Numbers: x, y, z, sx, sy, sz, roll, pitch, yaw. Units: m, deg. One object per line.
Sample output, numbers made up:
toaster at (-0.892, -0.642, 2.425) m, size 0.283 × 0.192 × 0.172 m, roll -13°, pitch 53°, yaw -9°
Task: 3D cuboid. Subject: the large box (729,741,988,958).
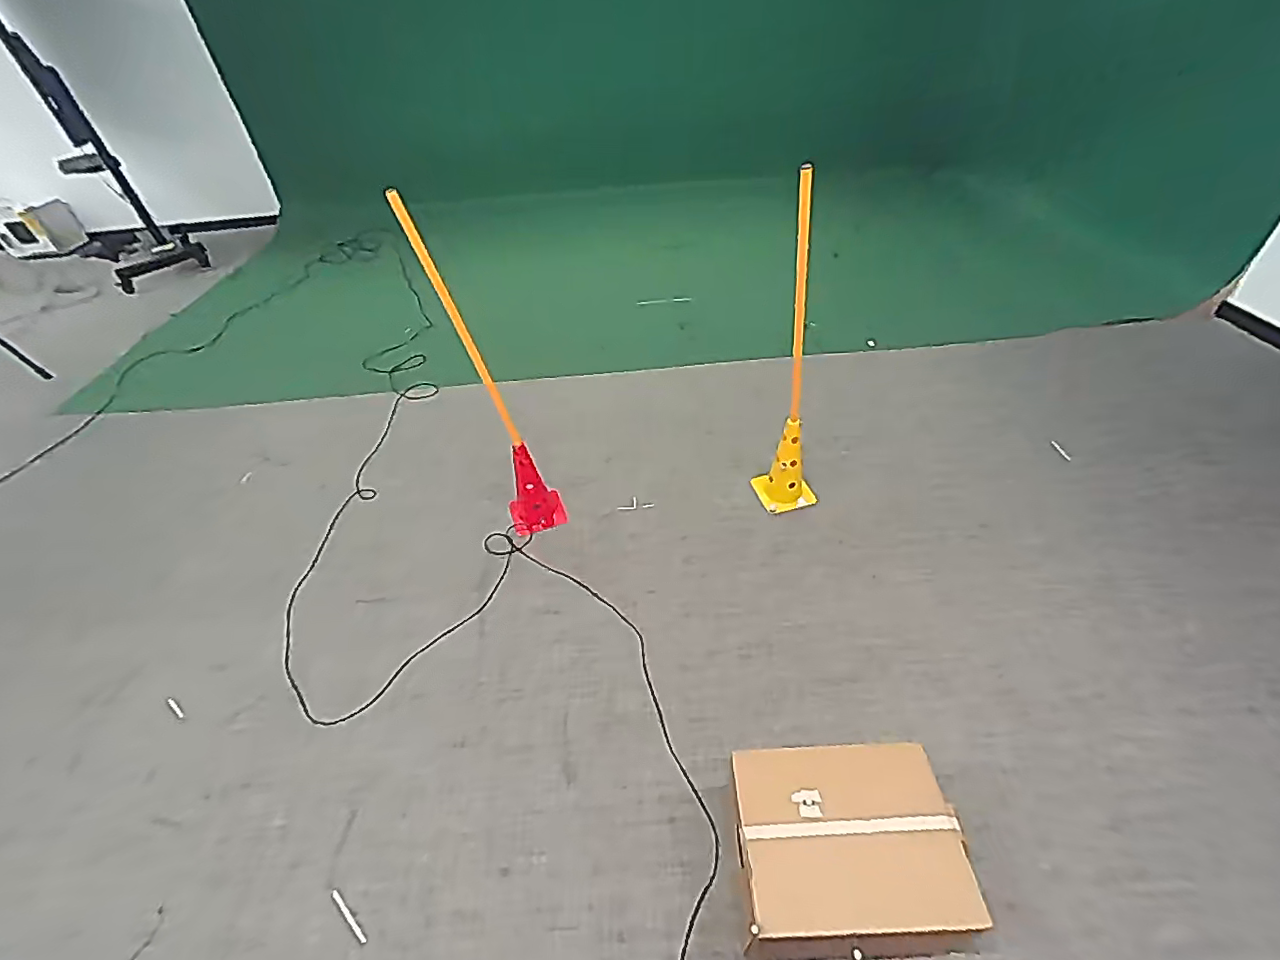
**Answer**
large box at (0.413, 0.784, 1.144) m, size 0.408 × 0.320 × 0.320 m, roll -5°, pitch 42°, yaw 2°
